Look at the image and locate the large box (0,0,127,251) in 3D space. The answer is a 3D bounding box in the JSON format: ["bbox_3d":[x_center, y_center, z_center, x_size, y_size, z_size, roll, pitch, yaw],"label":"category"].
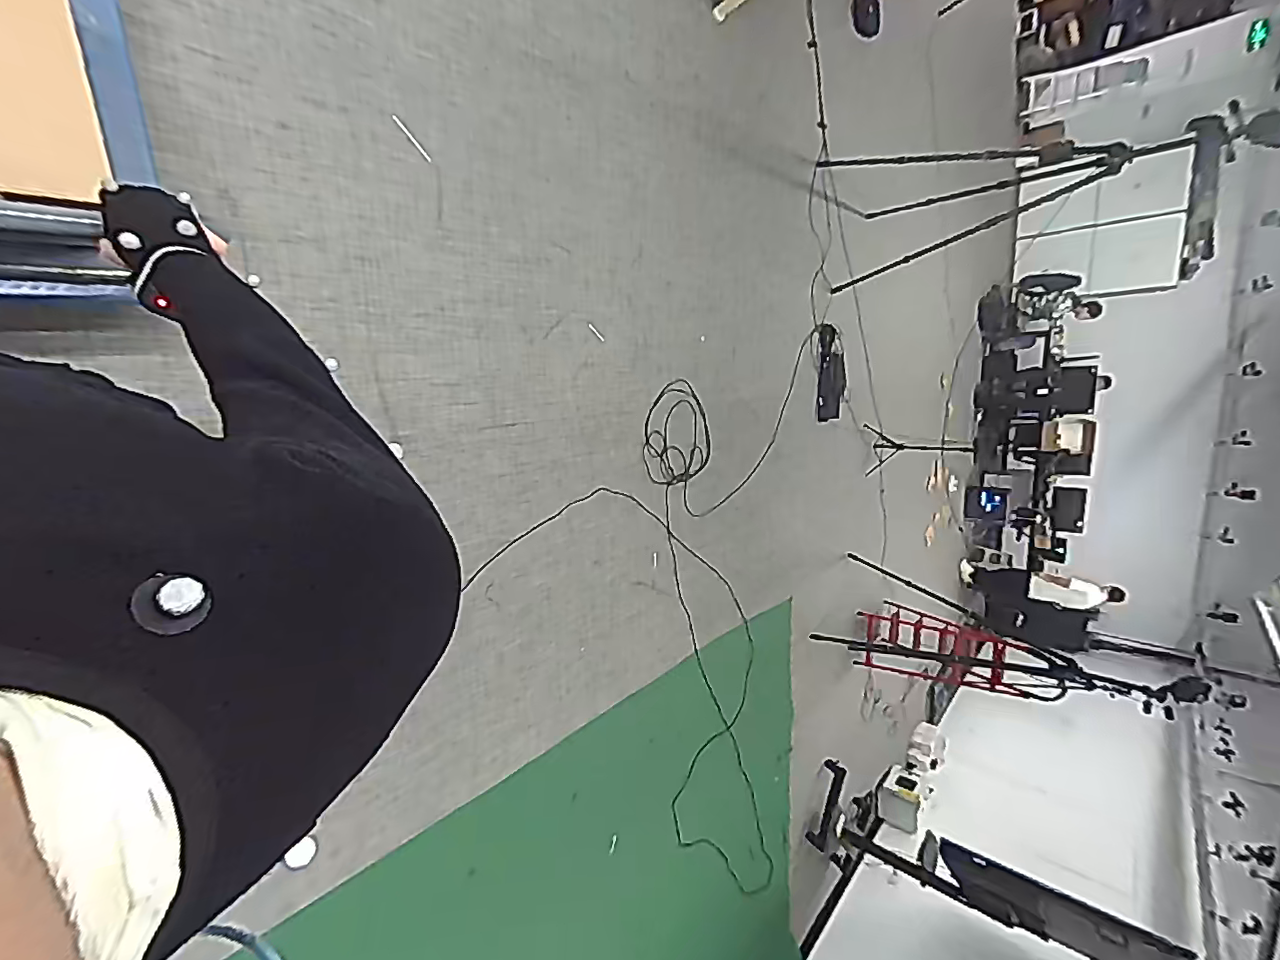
[{"bbox_3d":[-1.025,-0.586,0.794,0.320,0.320,0.408,-17,106,-45],"label":"large box"}]
